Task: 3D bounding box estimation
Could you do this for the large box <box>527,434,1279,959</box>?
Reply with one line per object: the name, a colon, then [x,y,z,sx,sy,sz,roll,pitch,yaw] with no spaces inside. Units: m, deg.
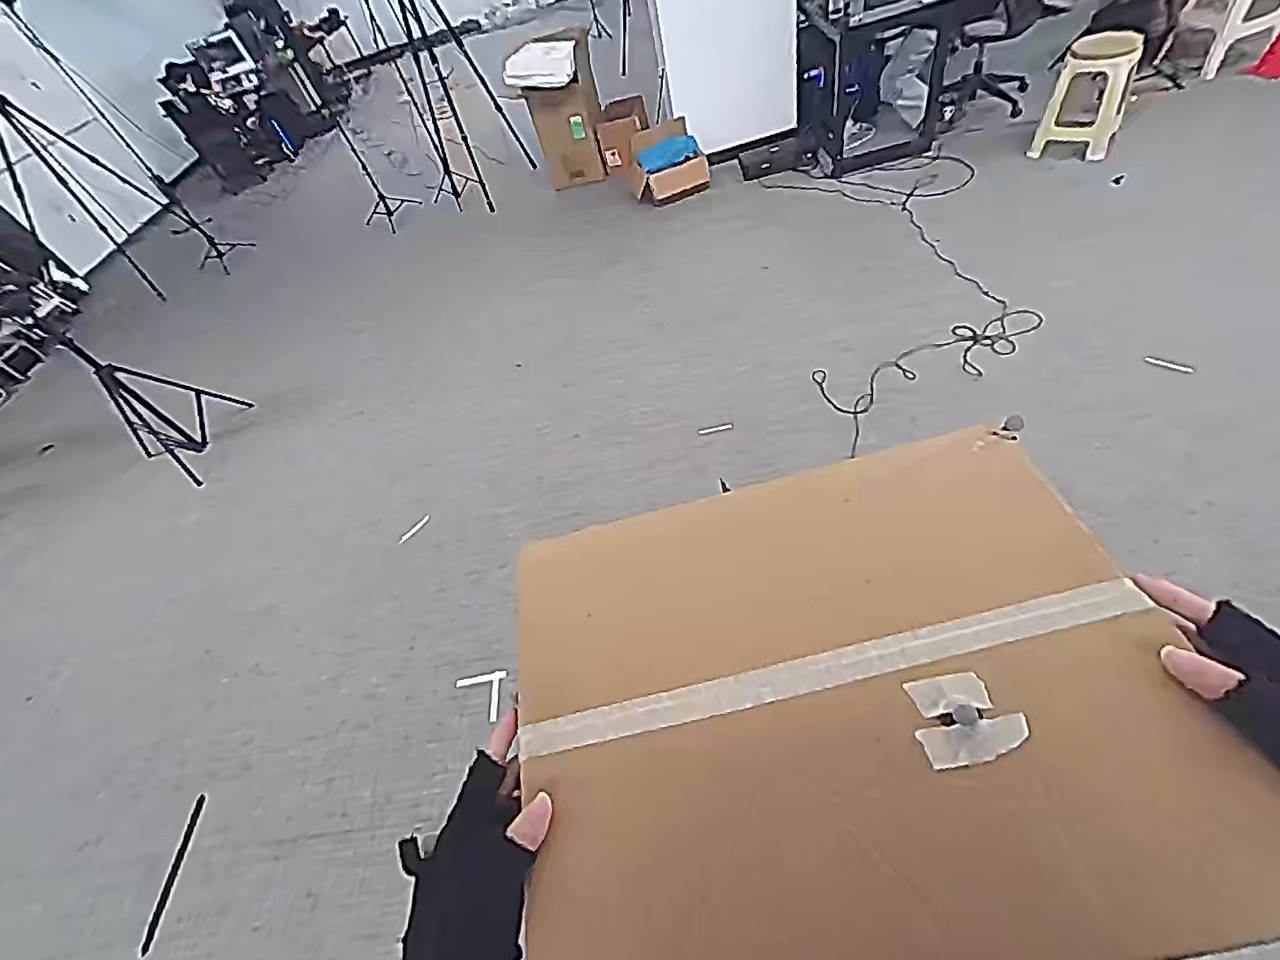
large box: [0.148,0.218,0.477,0.408,0.320,0.320,-15,51,3]
